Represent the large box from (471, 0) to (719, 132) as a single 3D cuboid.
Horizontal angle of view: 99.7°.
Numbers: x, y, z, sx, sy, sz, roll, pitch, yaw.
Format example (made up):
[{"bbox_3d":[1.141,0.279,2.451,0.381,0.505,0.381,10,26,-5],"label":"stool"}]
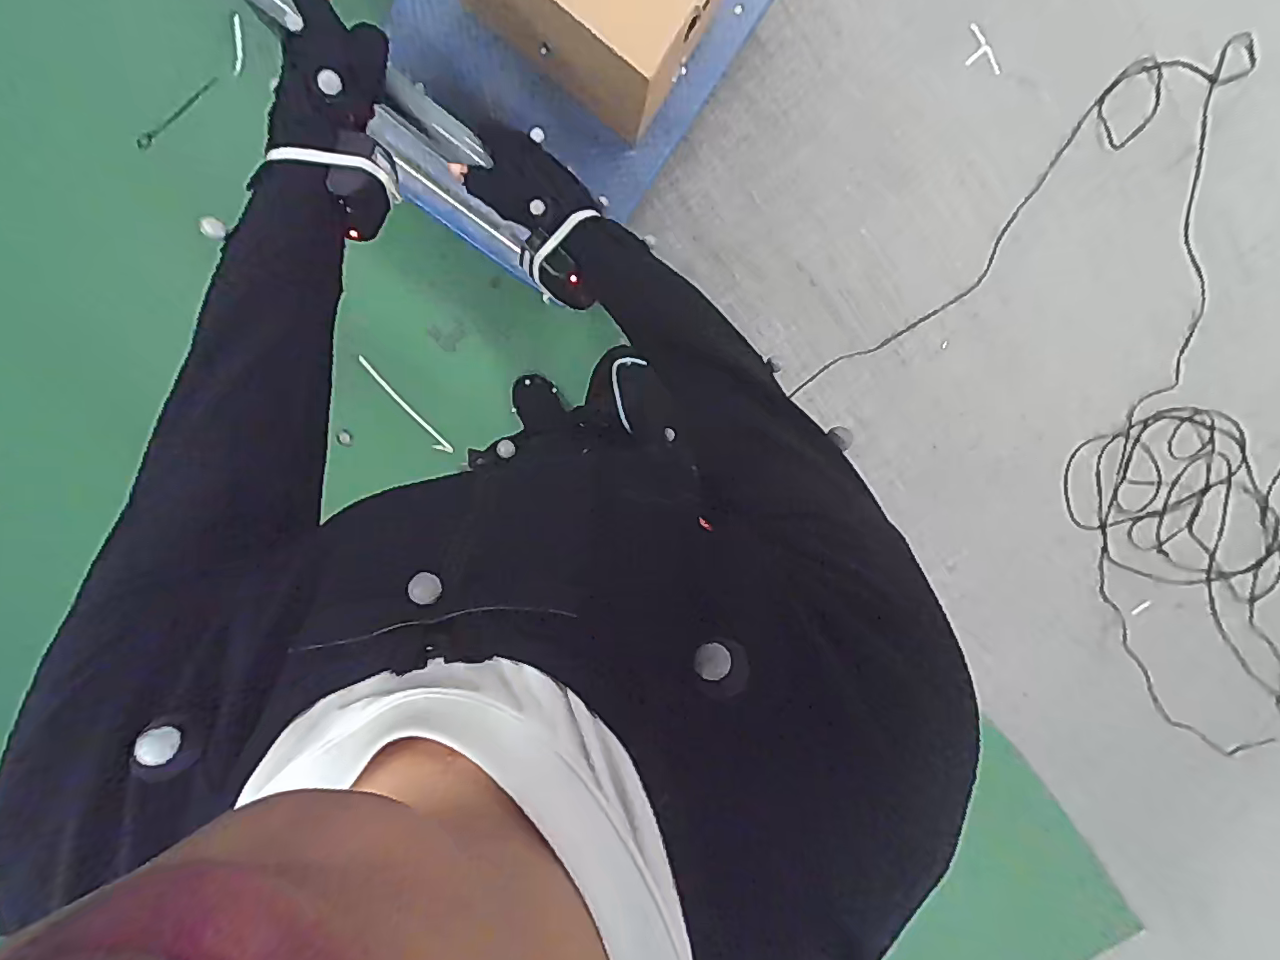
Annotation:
[{"bbox_3d":[-0.070,-0.898,0.912,0.408,0.320,0.320,33,100,-13],"label":"large box"}]
